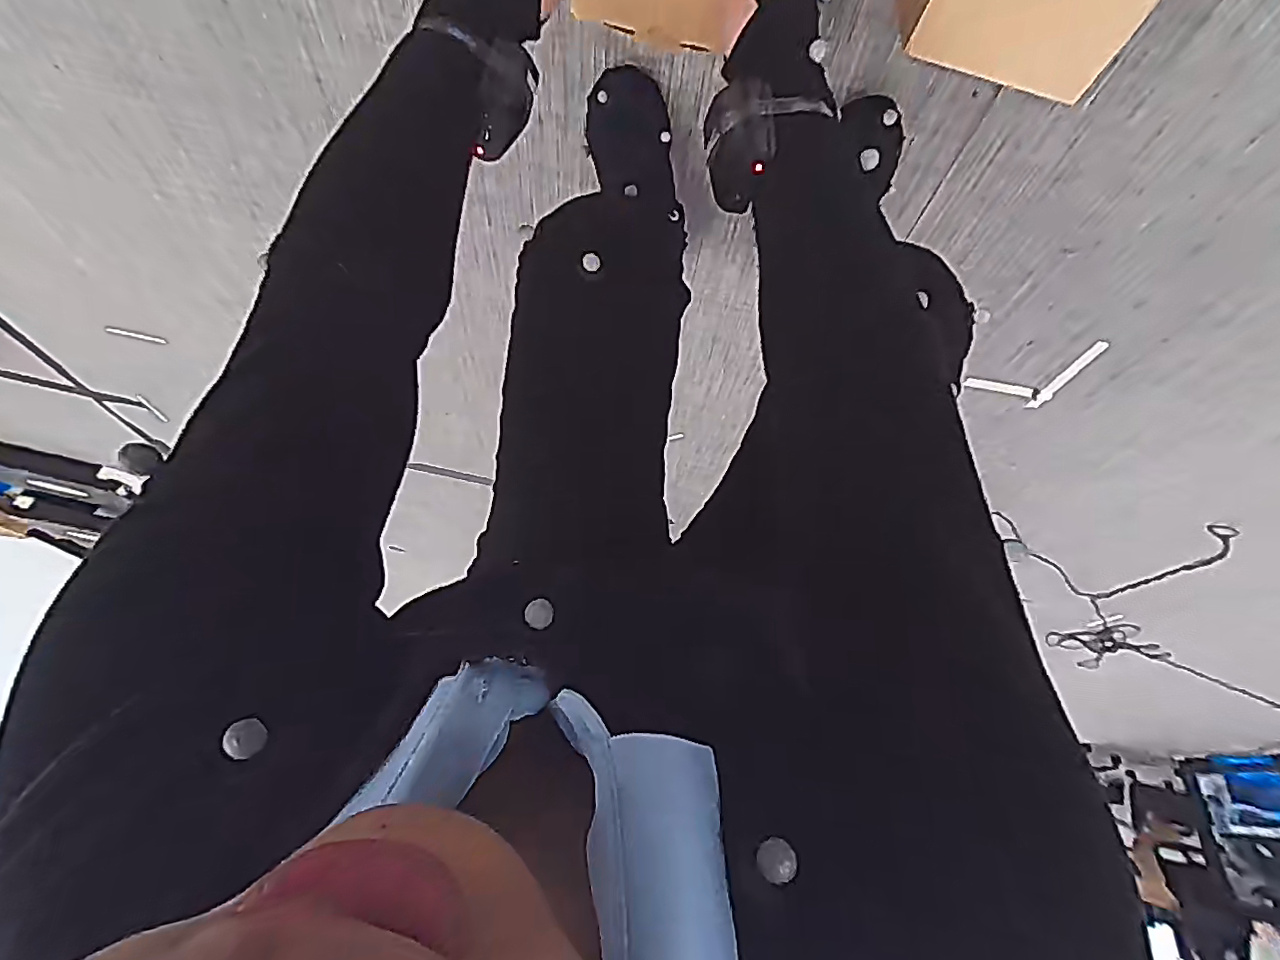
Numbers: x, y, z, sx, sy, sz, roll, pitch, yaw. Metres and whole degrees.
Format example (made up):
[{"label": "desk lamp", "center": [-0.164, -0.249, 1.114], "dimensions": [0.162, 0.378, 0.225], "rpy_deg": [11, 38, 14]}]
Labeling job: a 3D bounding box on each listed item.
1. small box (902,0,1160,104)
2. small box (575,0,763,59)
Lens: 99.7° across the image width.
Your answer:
[{"label": "small box", "center": [0.338, -0.463, 0.442], "dimensions": [0.168, 0.176, 0.179], "rpy_deg": [14, 150, -4]}, {"label": "small box", "center": [0.045, -0.516, 0.463], "dimensions": [0.168, 0.176, 0.179], "rpy_deg": [13, 150, -1]}]
